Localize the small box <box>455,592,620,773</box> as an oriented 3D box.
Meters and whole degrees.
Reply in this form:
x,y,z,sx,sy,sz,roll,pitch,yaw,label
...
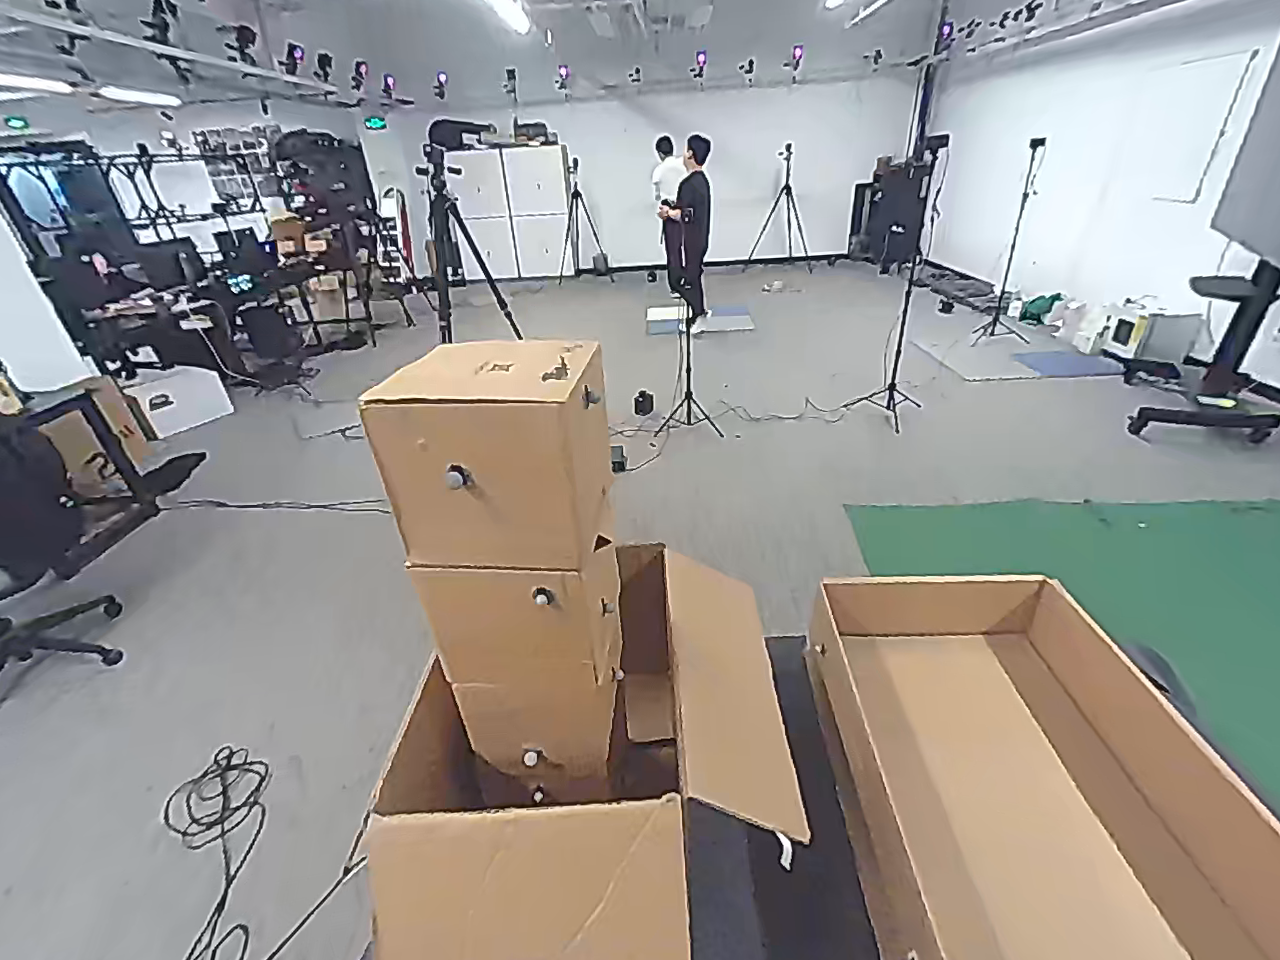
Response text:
x,y,z,sx,sy,sz,roll,pitch,yaw,label
-0.118,0.248,0.707,0.168,0.176,0.179,0,33,5,small box

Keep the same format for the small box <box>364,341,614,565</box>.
x,y,z,sx,sy,sz,roll,pitch,yaw,label
-0.128,-0.030,0.537,0.179,0.176,0.168,1,31,7,small box

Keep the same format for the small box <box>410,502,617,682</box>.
x,y,z,sx,sy,sz,roll,pitch,yaw,label
-0.127,0.111,0.622,0.179,0.176,0.168,1,31,6,small box
